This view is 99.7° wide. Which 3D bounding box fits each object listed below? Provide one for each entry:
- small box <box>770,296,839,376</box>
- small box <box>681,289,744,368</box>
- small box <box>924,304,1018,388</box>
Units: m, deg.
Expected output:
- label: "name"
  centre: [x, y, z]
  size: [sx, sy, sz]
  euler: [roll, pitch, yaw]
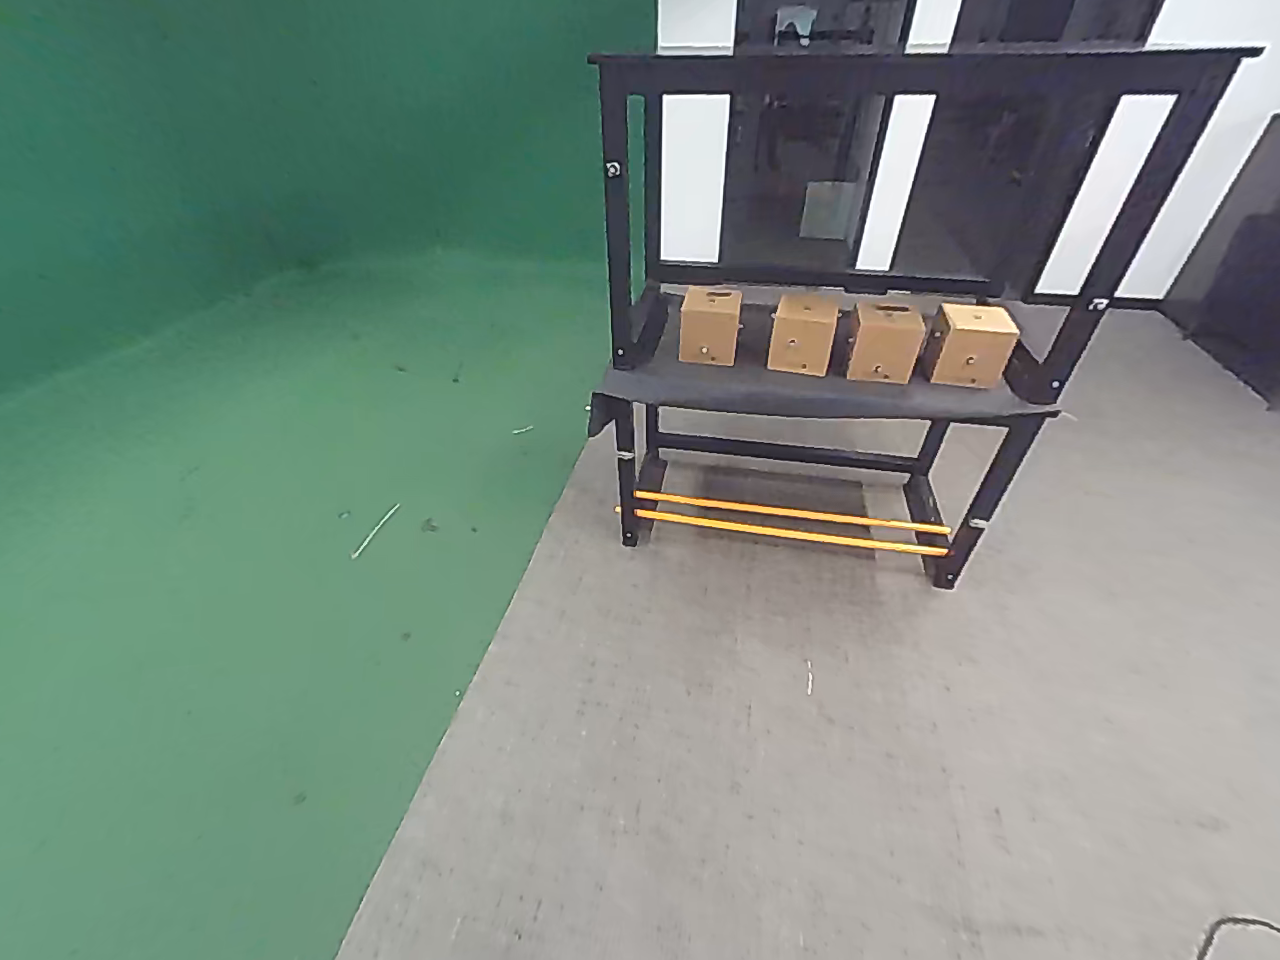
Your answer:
- label: "small box"
  centre: [0.480, -0.421, 1.583]
  size: [0.168, 0.176, 0.179]
  euler: [11, 41, 14]
- label: "small box"
  centre: [0.217, -0.459, 1.633]
  size: [0.168, 0.176, 0.179]
  euler: [7, 41, 9]
- label: "small box"
  centre: [0.912, -0.372, 1.507]
  size: [0.168, 0.176, 0.179]
  euler: [9, 40, 12]
